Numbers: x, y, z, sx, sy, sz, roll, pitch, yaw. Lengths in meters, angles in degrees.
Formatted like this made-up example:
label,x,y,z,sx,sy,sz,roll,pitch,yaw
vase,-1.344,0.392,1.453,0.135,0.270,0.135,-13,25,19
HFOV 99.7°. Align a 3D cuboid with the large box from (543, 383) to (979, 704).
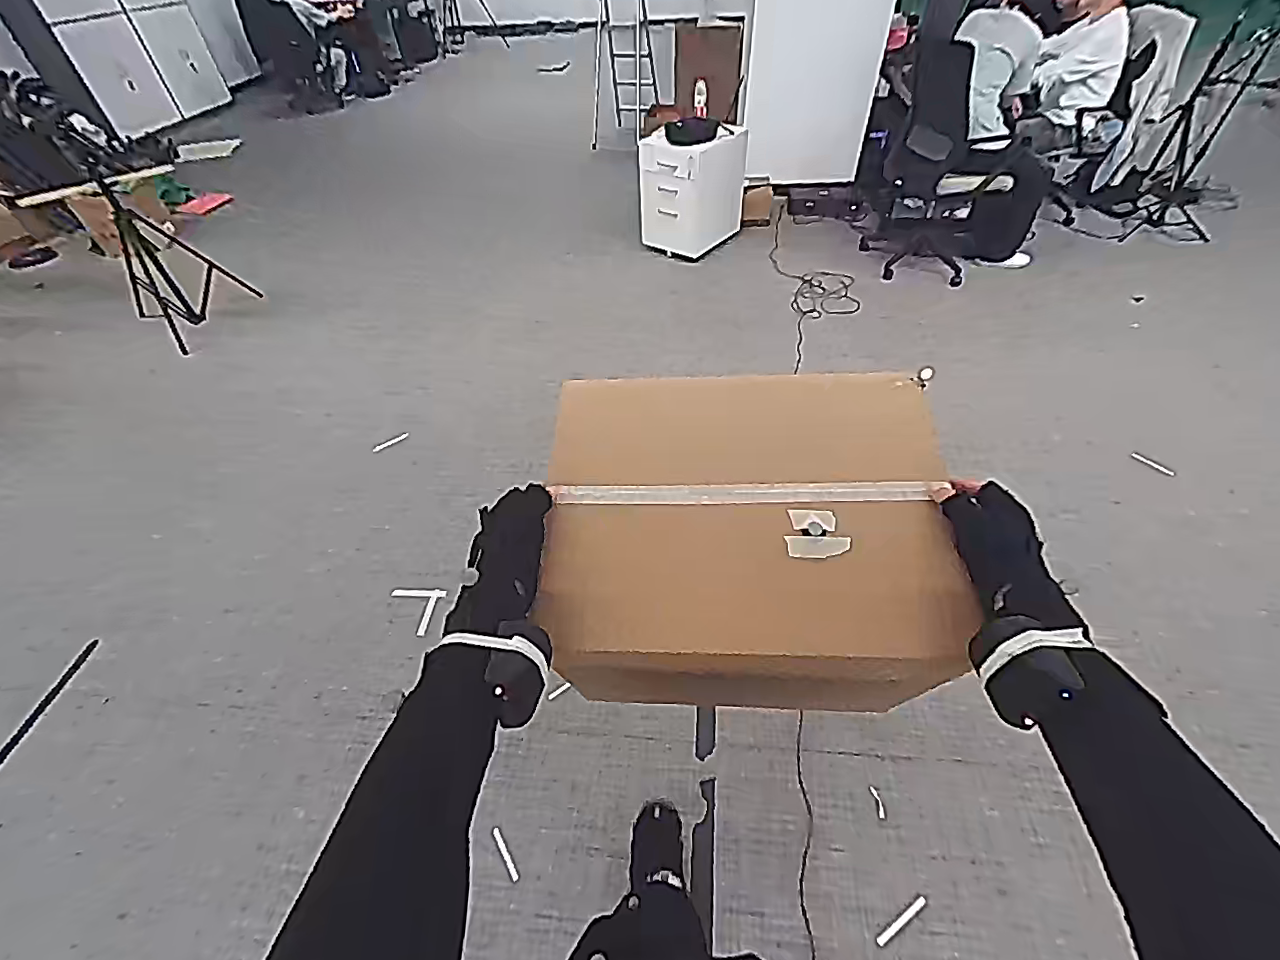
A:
label,x,y,z,sx,sy,sz,roll,pitch,yaw
large box,0.119,0.099,0.694,0.408,0.320,0.320,-1,60,5
